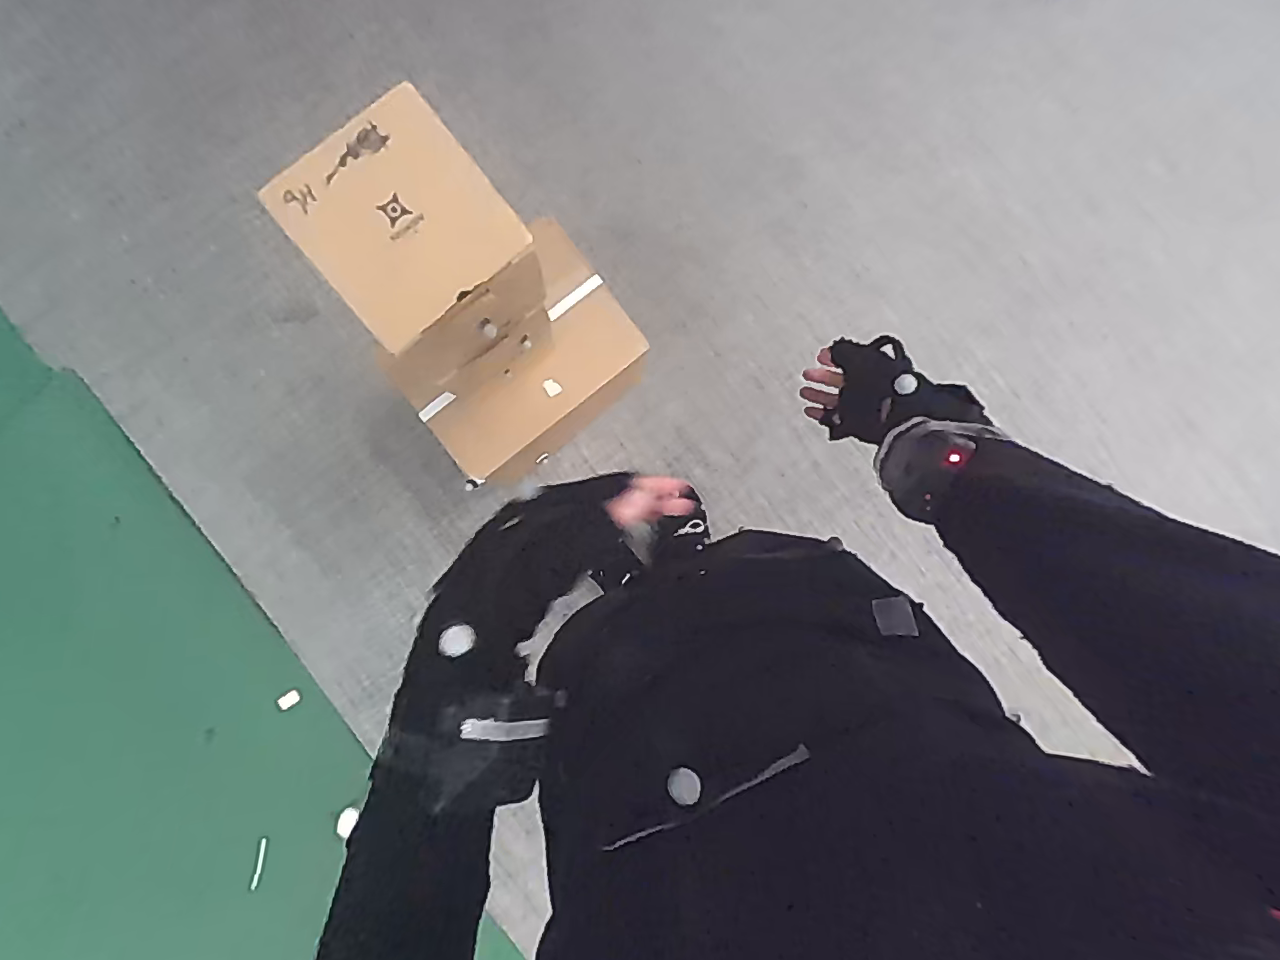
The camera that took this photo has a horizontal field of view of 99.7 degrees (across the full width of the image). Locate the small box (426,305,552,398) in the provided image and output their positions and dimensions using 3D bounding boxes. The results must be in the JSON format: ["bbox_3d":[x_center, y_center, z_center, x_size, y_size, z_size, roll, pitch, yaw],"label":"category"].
[{"bbox_3d":[-0.233,-0.224,0.720,0.168,0.176,0.179,-40,95,-4],"label":"small box"}]

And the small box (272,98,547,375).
[{"bbox_3d":[-0.211,-0.225,0.558,0.168,0.176,0.179,-39,97,-3],"label":"small box"}]
